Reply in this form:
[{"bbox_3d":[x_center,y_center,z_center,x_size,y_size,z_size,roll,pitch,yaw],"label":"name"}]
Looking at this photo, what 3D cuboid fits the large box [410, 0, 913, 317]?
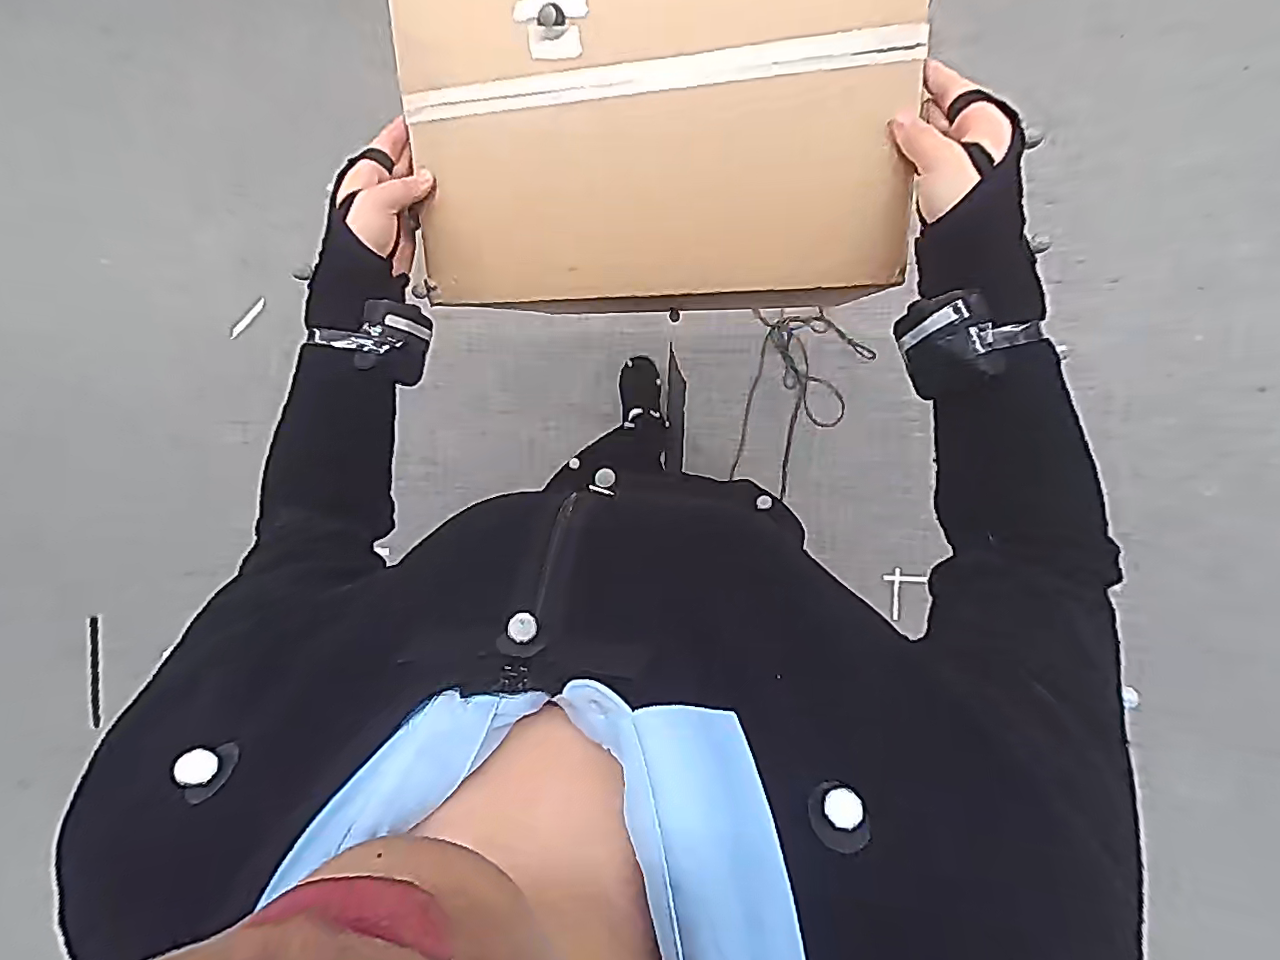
[{"bbox_3d":[0.036,-0.348,0.576,0.408,0.320,0.320,1,103,12],"label":"large box"}]
